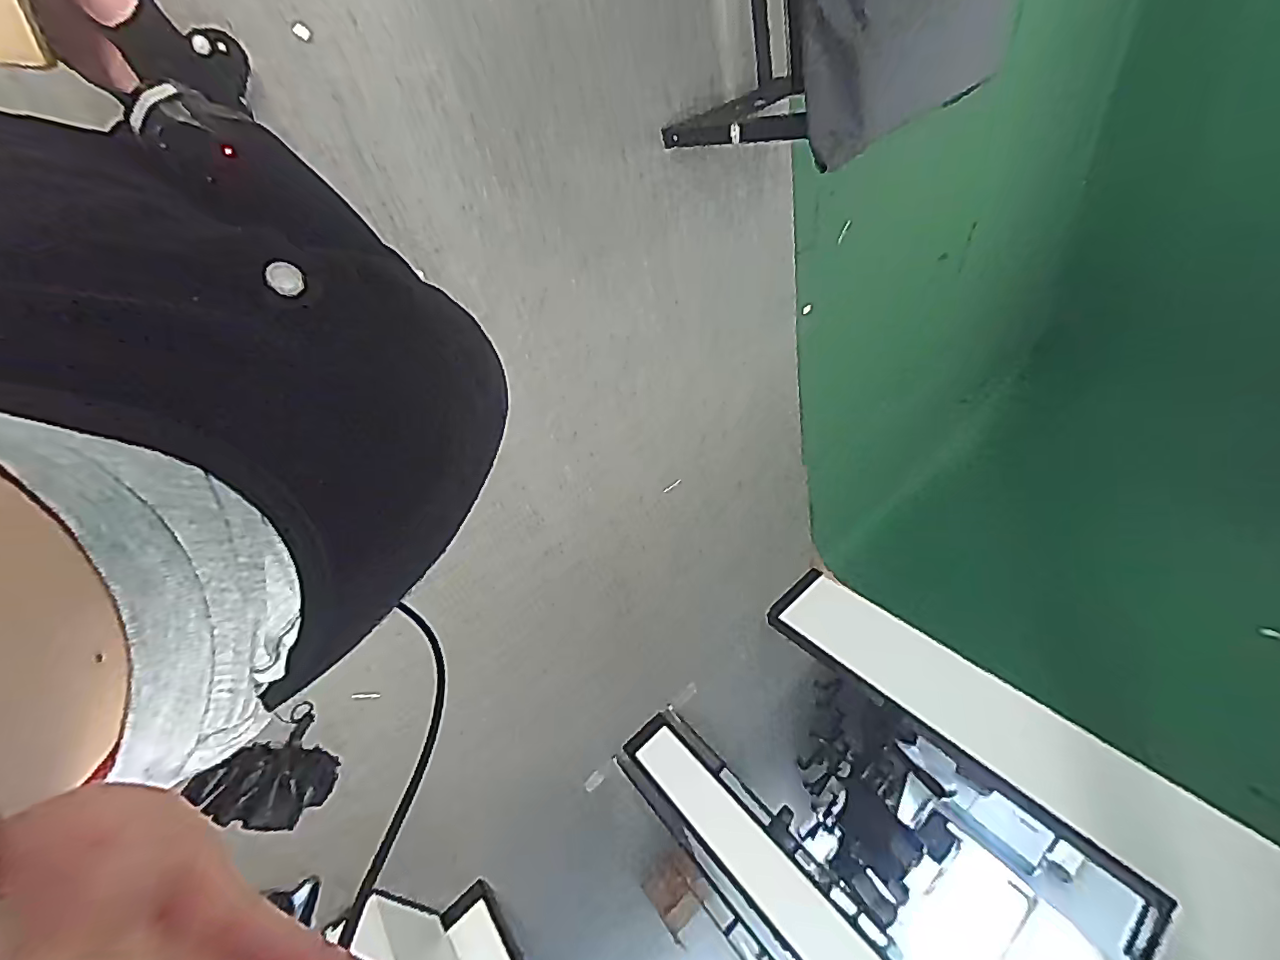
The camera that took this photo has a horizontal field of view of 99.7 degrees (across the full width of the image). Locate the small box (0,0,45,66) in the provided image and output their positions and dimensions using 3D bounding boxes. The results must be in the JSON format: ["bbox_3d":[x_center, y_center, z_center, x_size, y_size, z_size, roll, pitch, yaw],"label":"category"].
[{"bbox_3d":[-0.472,-0.328,0.282,0.179,0.176,0.168,-21,133,-33],"label":"small box"}]

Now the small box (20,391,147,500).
[{"bbox_3d":[-1.130,-0.065,1.109,0.168,0.176,0.179,7,107,-46],"label":"small box"}]

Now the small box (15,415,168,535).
[{"bbox_3d":[-1.007,-0.018,1.006,0.179,0.176,0.168,-9,120,-42],"label":"small box"}]
